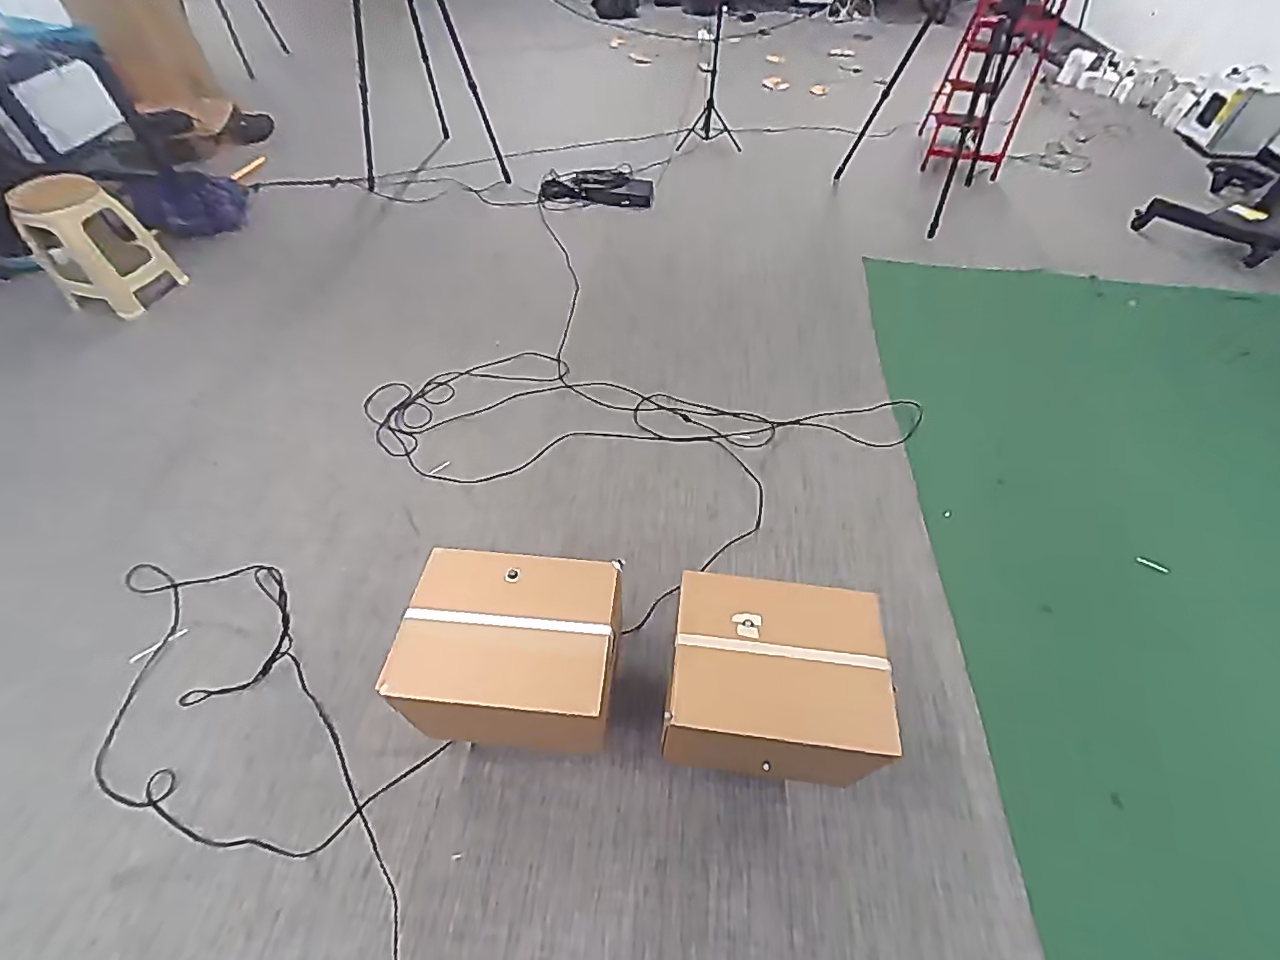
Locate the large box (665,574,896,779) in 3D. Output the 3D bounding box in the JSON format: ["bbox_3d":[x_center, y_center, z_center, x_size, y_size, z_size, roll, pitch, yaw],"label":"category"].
[{"bbox_3d":[0.272,0.428,1.164,0.408,0.320,0.320,6,52,4],"label":"large box"}]
